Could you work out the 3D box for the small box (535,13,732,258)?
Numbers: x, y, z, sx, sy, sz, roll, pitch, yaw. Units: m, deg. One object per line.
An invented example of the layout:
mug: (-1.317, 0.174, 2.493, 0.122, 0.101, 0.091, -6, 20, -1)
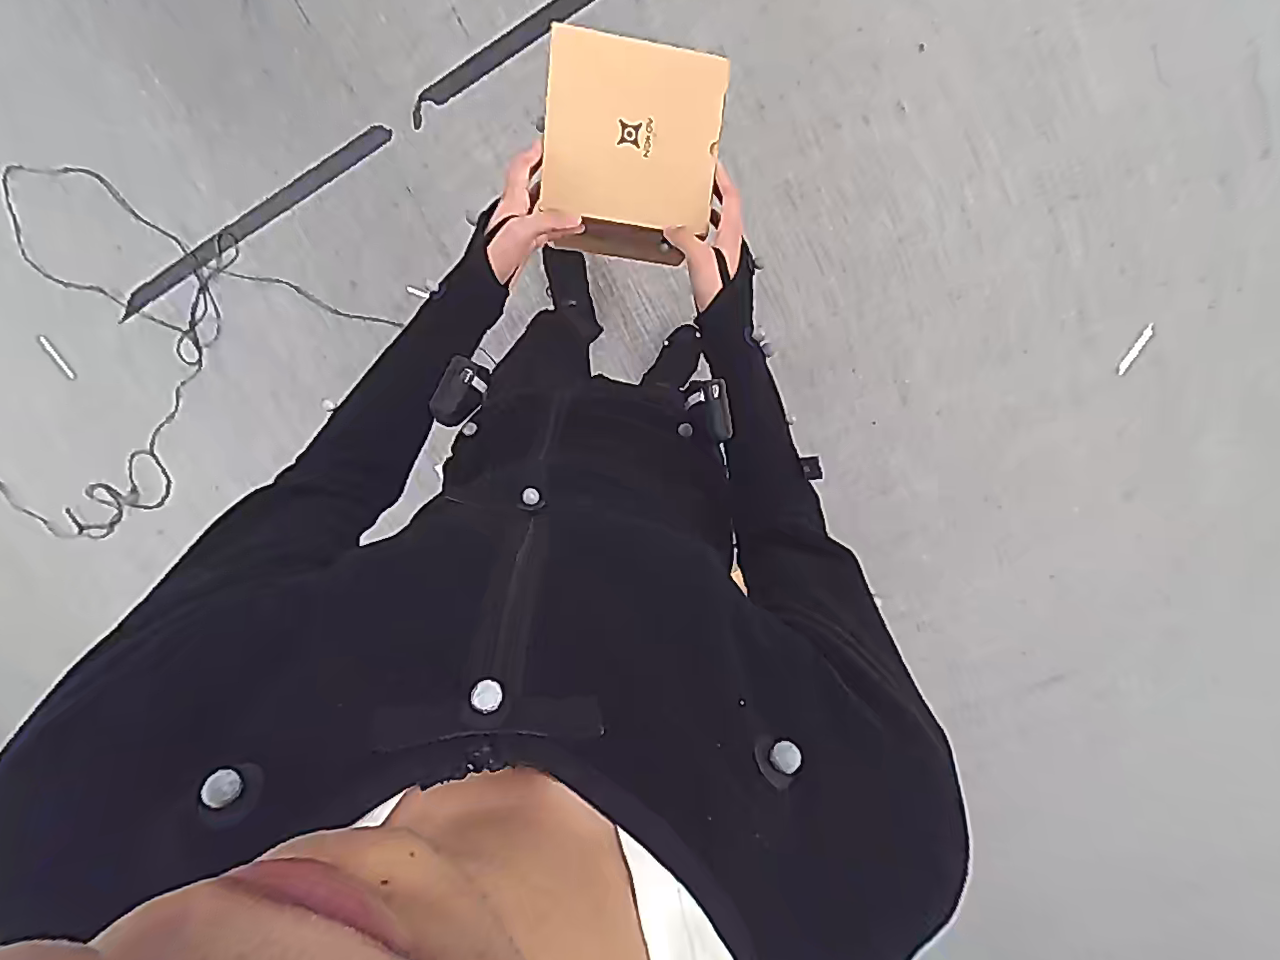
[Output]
small box: (-0.016, -0.354, 0.594, 0.179, 0.176, 0.168, 5, 101, -9)
